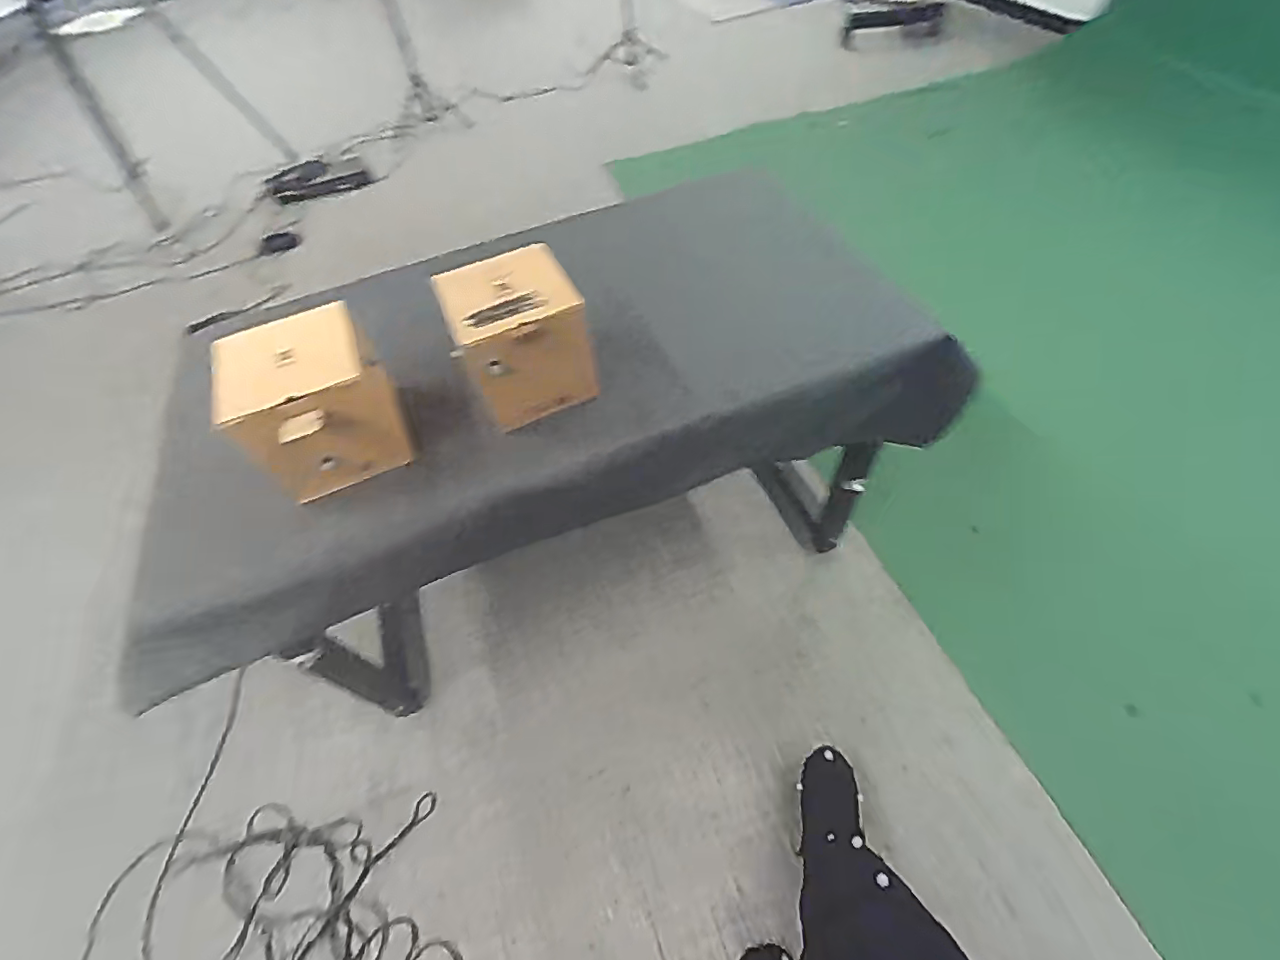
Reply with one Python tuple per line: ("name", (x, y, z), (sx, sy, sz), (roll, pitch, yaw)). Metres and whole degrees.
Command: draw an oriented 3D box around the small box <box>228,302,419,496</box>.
("small box", (-0.432, -0.110, 0.753), (0.168, 0.176, 0.179), (-23, 56, -12))
